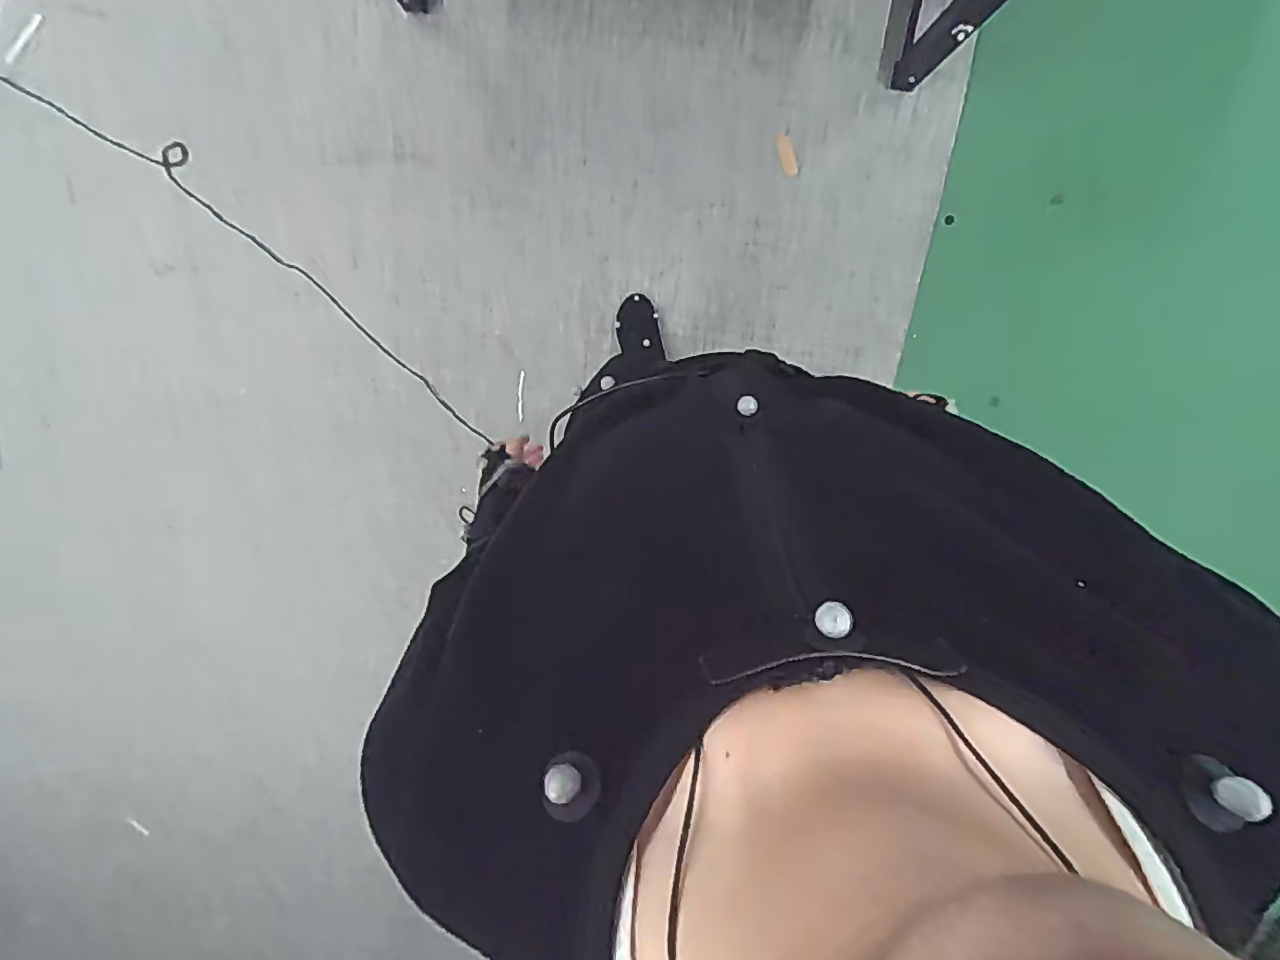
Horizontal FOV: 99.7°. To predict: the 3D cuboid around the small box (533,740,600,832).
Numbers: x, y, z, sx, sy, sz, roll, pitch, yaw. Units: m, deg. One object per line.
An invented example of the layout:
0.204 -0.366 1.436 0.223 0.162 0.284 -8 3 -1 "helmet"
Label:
-0.225 0.951 1.692 0.168 0.176 0.179 12 106 -1 "small box"
